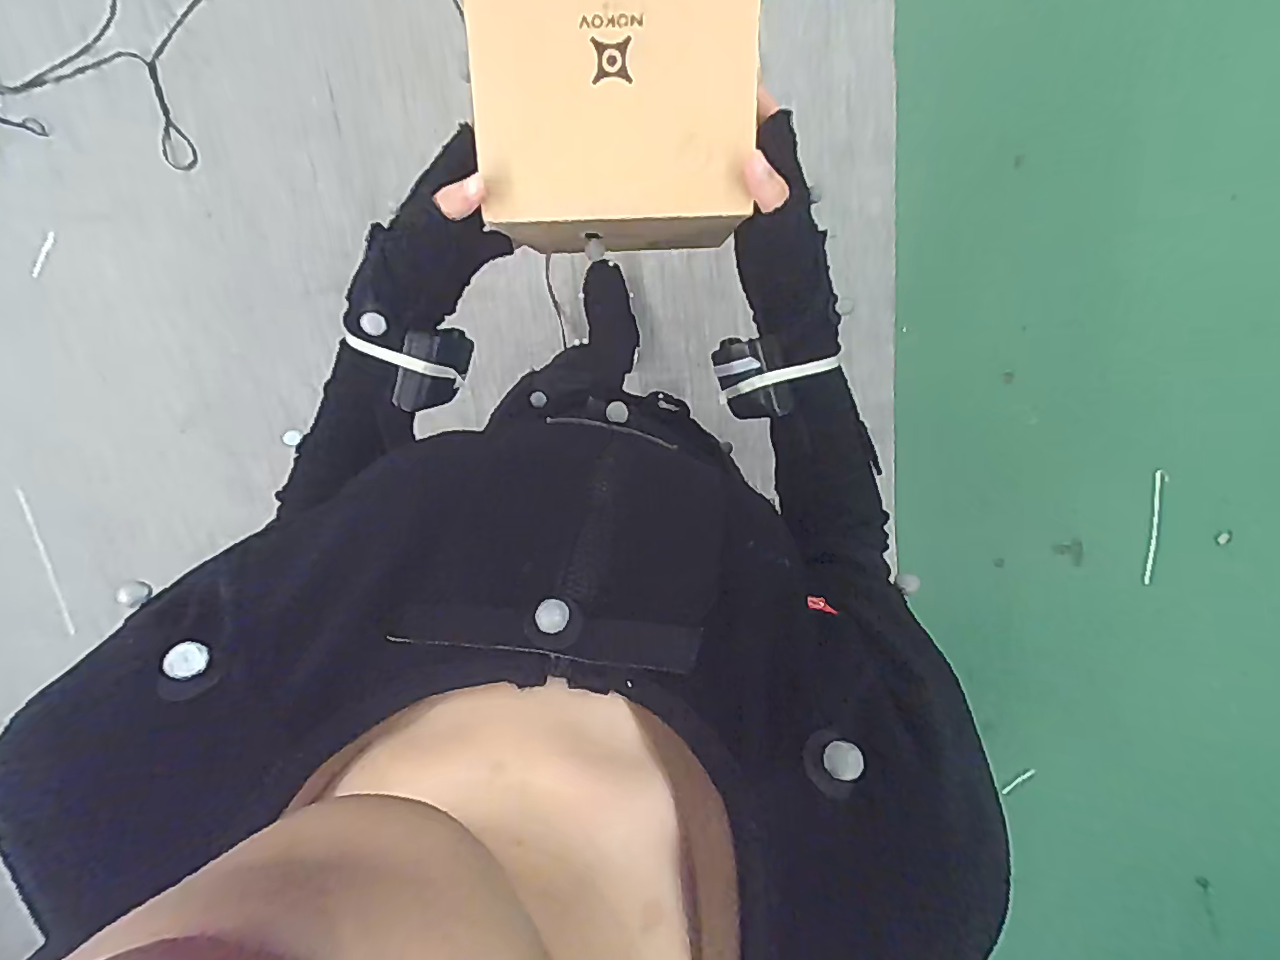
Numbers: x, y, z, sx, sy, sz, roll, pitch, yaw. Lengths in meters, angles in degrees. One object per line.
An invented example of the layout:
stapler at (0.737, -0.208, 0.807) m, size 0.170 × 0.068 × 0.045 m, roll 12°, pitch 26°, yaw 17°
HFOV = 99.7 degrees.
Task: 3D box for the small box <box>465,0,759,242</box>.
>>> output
small box at (-0.012, -0.270, 0.377) m, size 0.168 × 0.176 × 0.179 m, roll -1°, pitch 104°, yaw 2°
